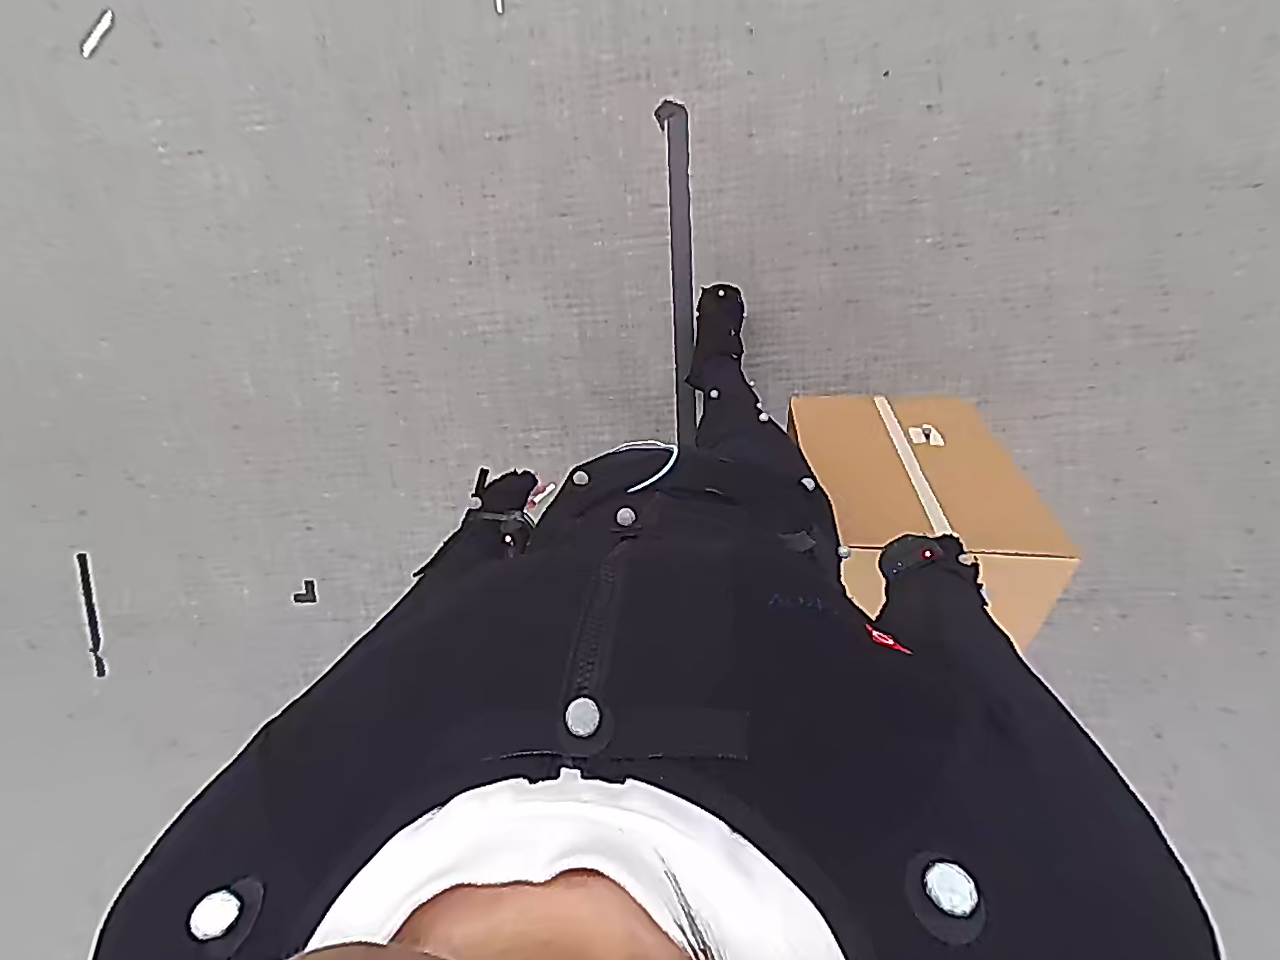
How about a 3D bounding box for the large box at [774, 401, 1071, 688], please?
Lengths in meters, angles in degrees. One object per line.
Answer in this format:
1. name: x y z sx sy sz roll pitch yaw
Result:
1. large box: 0.420 0.095 0.938 0.320 0.408 0.320 2 125 6
